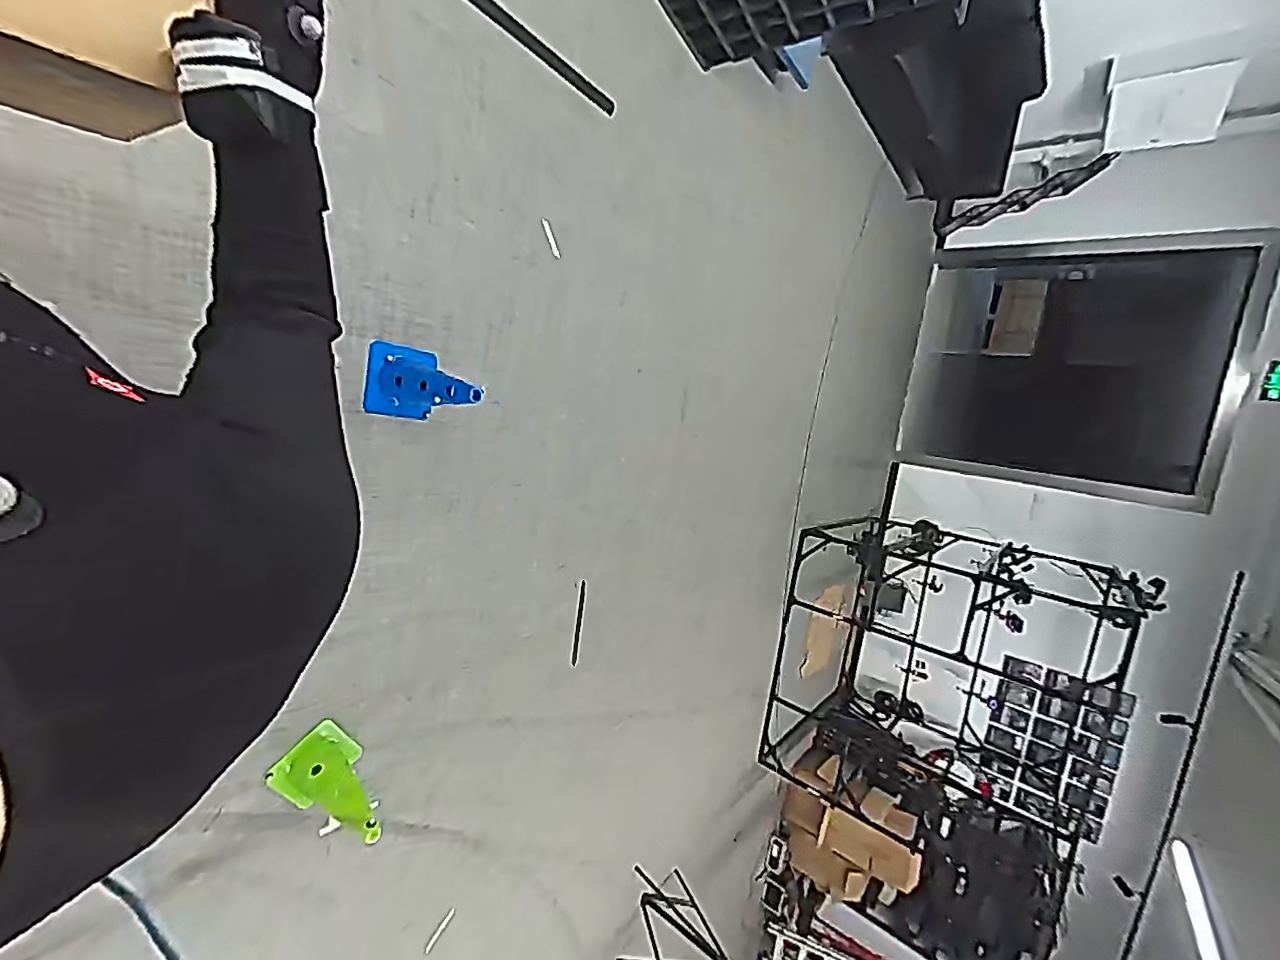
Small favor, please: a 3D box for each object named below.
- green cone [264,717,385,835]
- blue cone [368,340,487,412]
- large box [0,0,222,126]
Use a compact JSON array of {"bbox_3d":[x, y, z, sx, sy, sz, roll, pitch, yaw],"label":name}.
[{"bbox_3d":[-0.801,0.842,1.456,0.202,0.368,0.200,-47,136,-35],"label":"green cone"},{"bbox_3d":[-0.548,-0.261,1.447,0.192,0.380,0.193,5,98,-54],"label":"blue cone"},{"bbox_3d":[-0.515,-0.447,0.283,0.408,0.320,0.320,-8,114,-52],"label":"large box"}]
